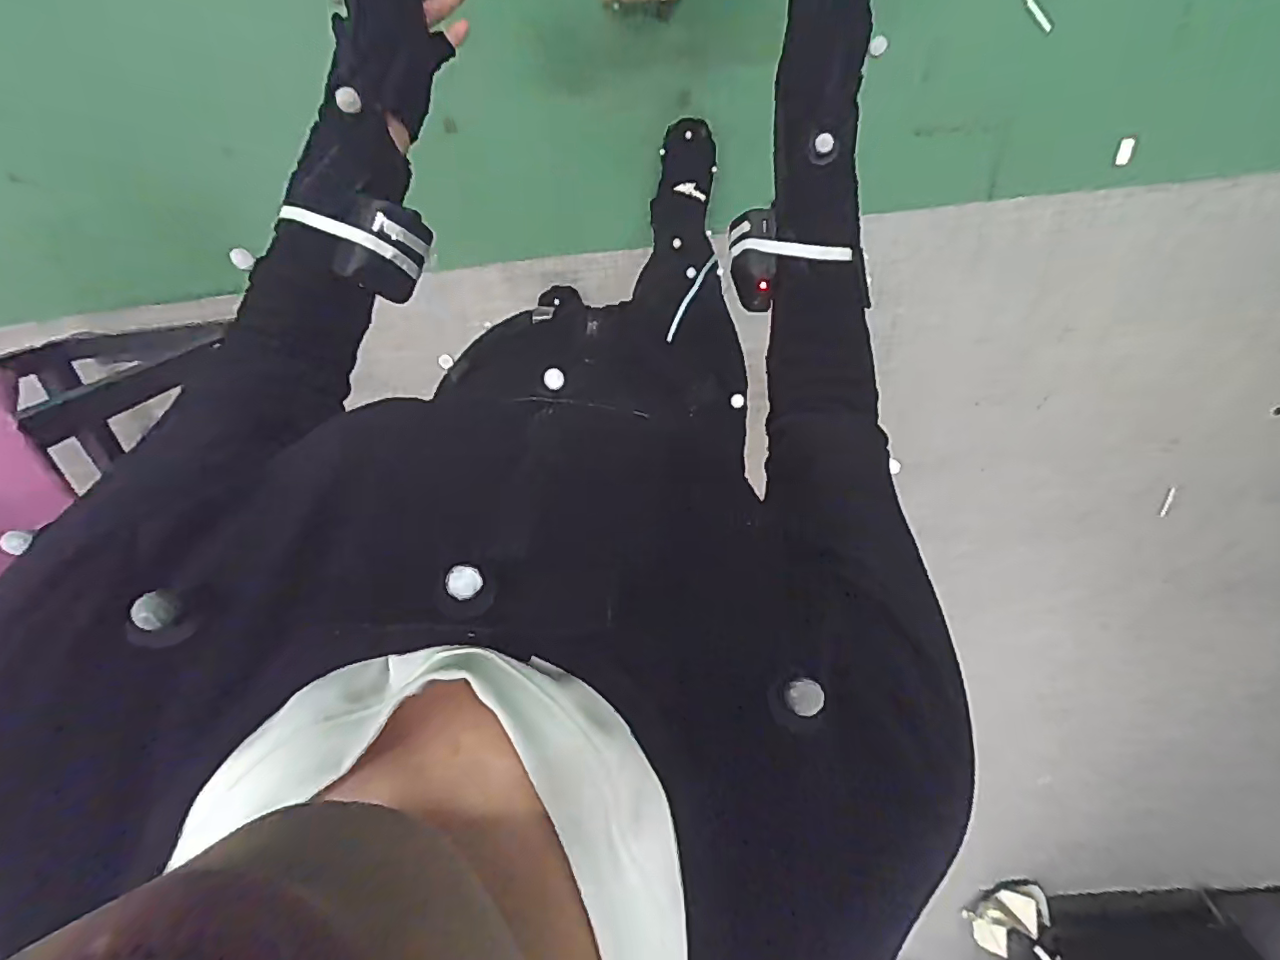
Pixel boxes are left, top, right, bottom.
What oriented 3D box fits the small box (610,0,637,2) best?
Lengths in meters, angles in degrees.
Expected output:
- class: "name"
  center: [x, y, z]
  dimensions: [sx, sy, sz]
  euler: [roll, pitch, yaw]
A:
- class: "small box"
  center: [0.001, -0.964, 0.941]
  dimensions: [0.168, 0.176, 0.179]
  euler: [-3, 119, 1]
